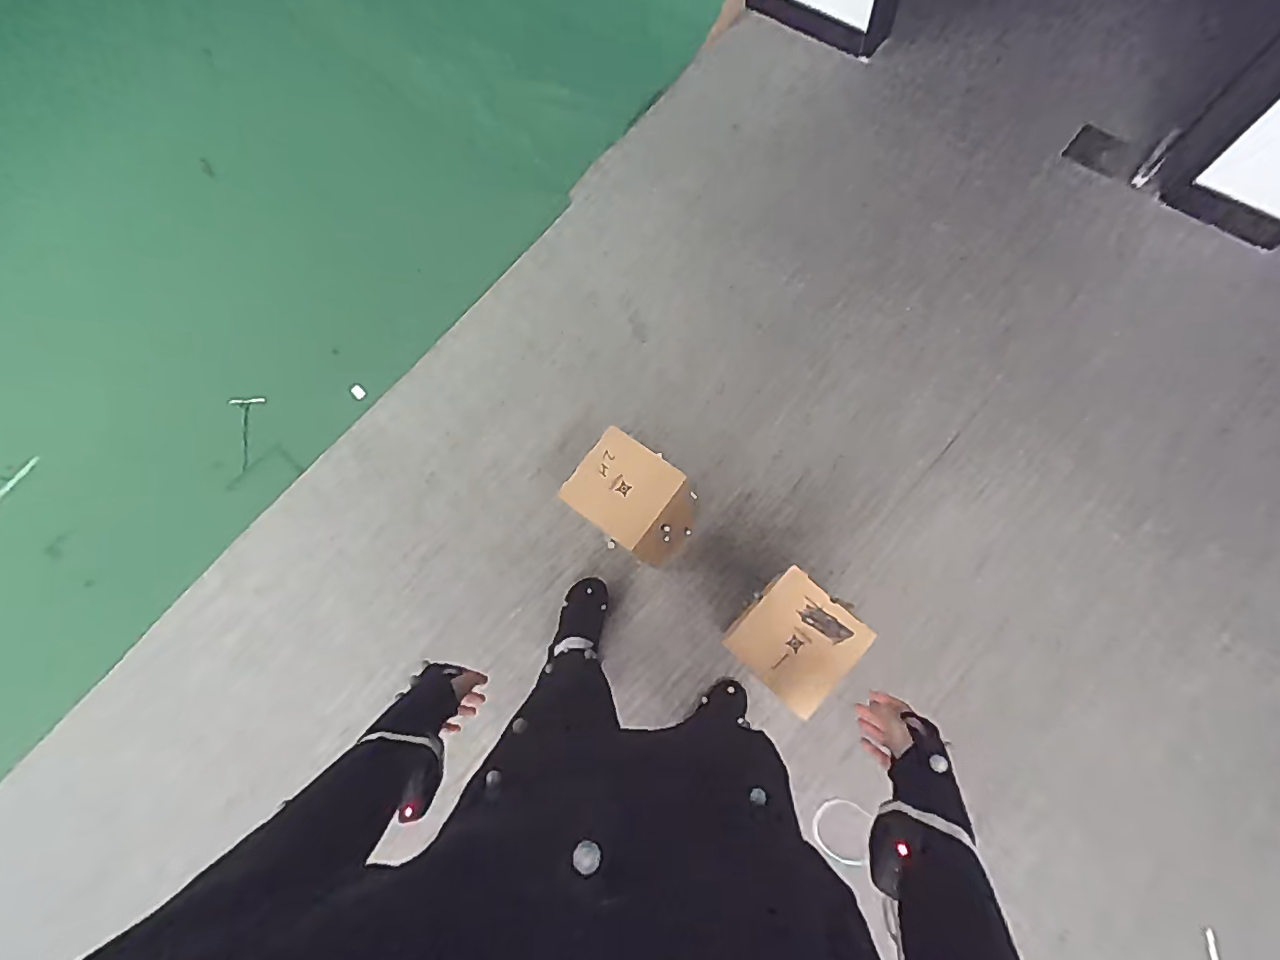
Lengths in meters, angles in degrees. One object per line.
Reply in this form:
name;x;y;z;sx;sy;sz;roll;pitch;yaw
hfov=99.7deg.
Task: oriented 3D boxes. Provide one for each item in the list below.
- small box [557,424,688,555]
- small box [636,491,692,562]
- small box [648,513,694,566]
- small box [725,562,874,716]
small box;-0.022;0.028;1.028;0.179;0.176;0.168;36;81;16
small box;-0.002;0.065;1.189;0.179;0.176;0.168;35;82;16
small box;0.020;0.101;1.347;0.179;0.176;0.168;35;82;17
small box;0.259;0.265;0.923;0.168;0.176;0.179;41;84;17
